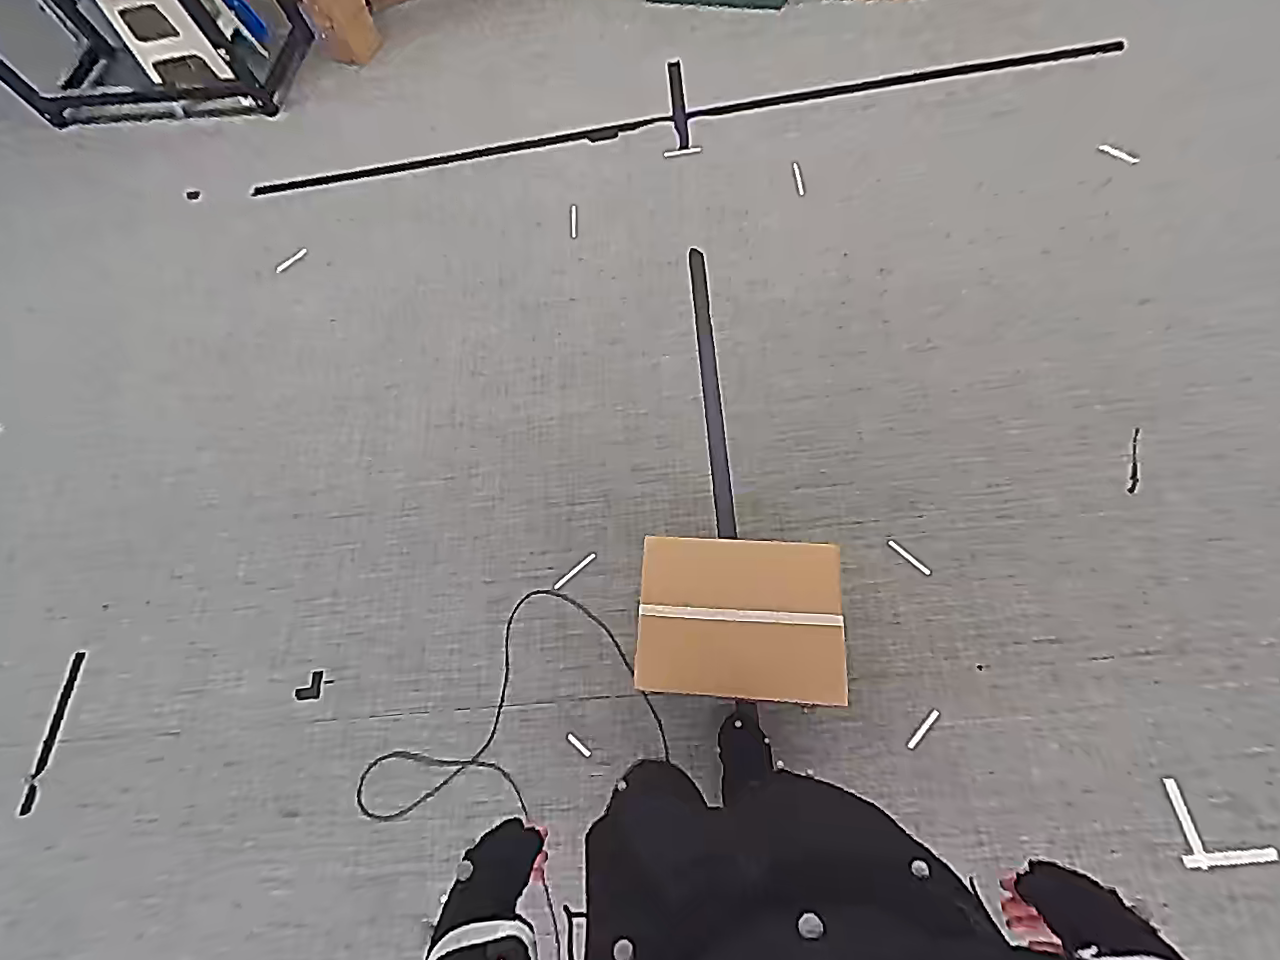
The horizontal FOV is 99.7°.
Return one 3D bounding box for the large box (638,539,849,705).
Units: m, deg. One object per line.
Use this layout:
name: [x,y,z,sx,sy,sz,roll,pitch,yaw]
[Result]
large box: [0.218,0.325,1.218,0.408,0.320,0.320,2,68,7]
